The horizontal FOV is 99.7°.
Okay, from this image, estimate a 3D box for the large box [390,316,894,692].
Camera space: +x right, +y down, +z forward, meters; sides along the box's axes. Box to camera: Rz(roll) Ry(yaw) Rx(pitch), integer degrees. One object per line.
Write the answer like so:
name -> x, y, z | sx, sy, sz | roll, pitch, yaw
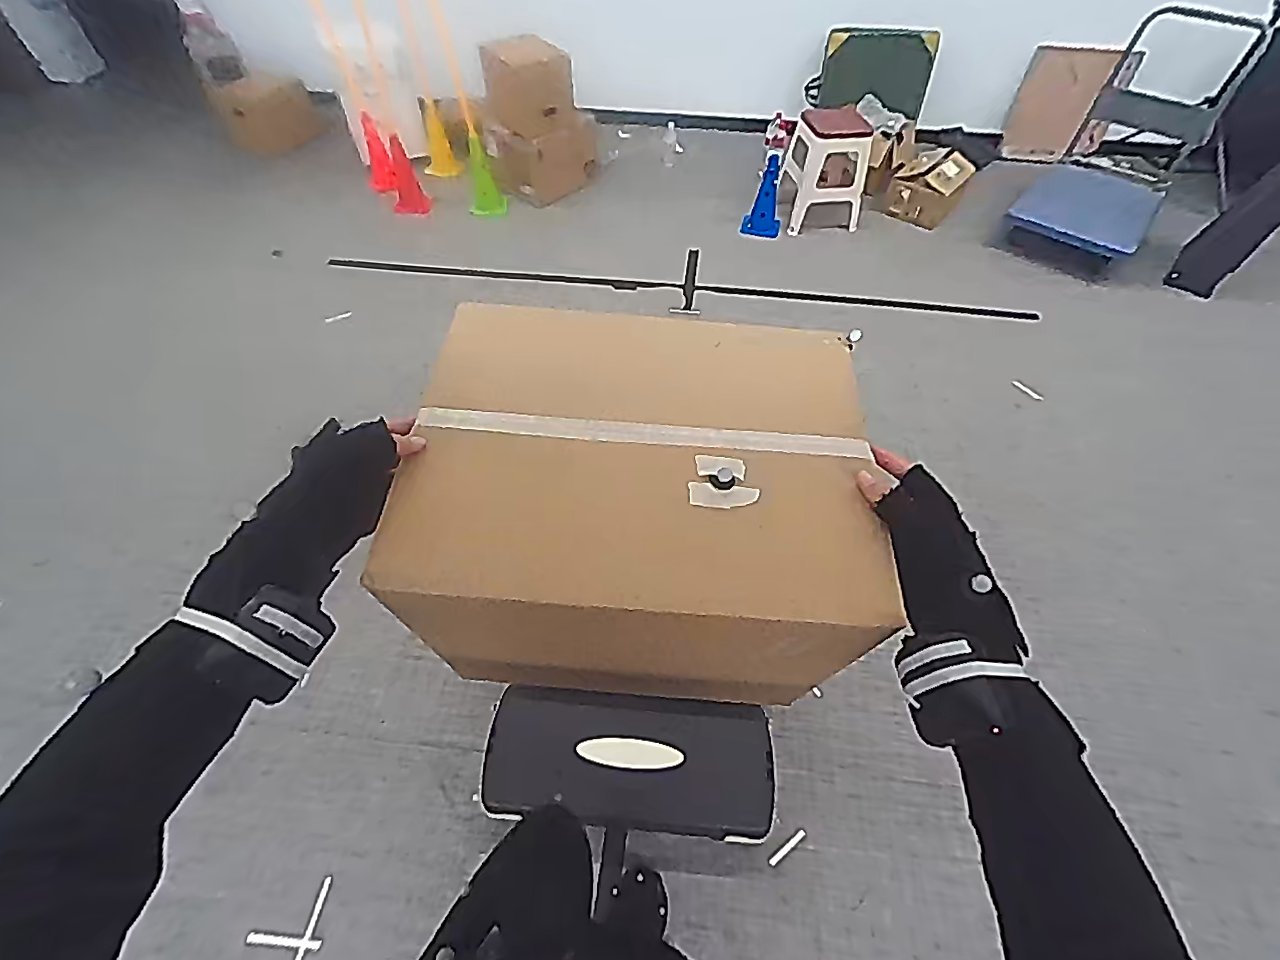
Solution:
large box -> 0.000, 0.045, 0.622 | 0.408, 0.320, 0.320 | 5, 58, -1
